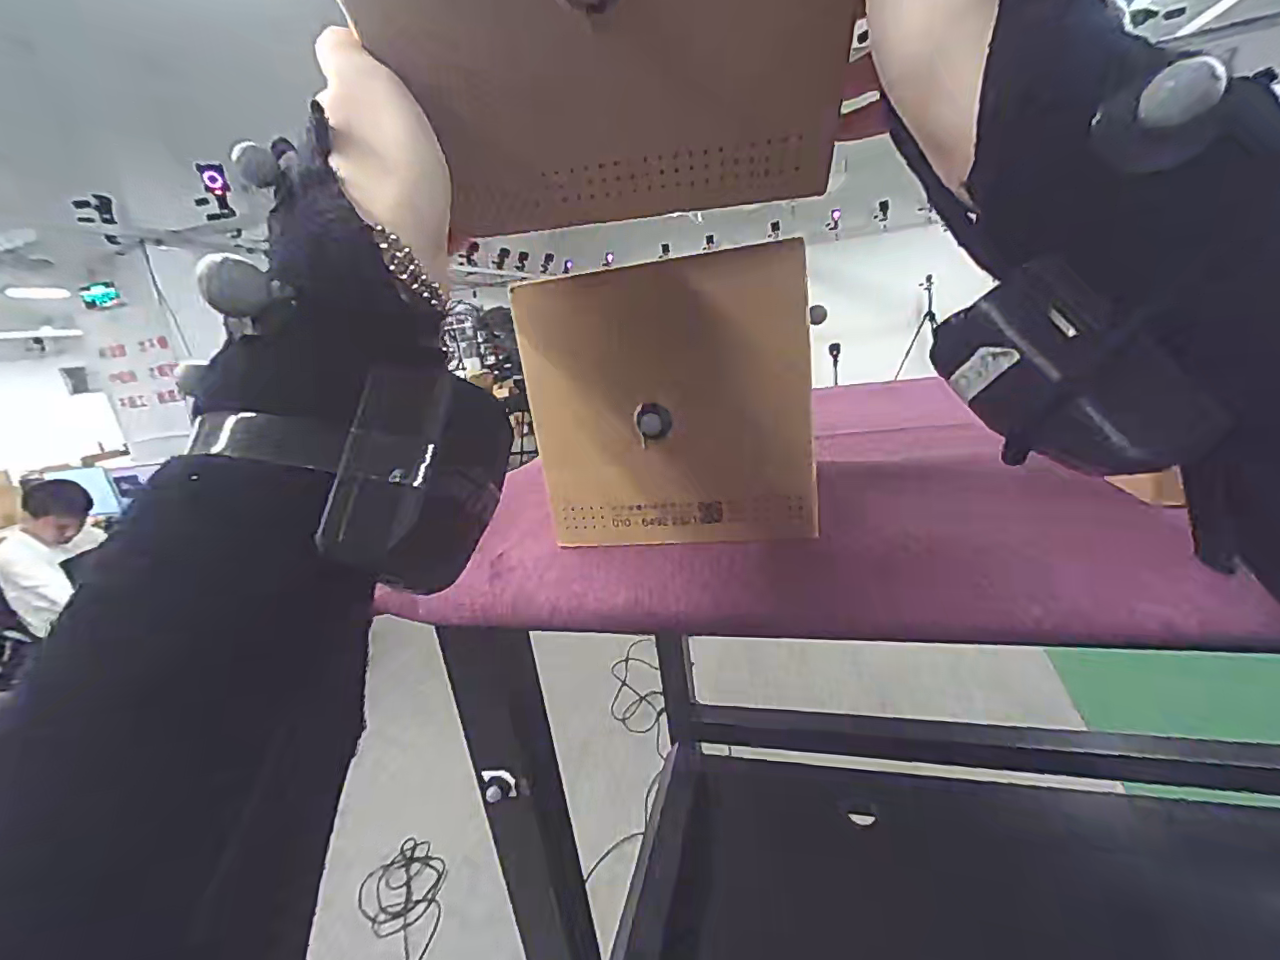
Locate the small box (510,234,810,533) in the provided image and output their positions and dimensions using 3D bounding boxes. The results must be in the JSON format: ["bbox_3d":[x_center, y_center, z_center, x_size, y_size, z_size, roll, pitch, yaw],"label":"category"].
[{"bbox_3d":[0.031,-0.066,0.393,0.168,0.176,0.179,-3,17,15],"label":"small box"}]
